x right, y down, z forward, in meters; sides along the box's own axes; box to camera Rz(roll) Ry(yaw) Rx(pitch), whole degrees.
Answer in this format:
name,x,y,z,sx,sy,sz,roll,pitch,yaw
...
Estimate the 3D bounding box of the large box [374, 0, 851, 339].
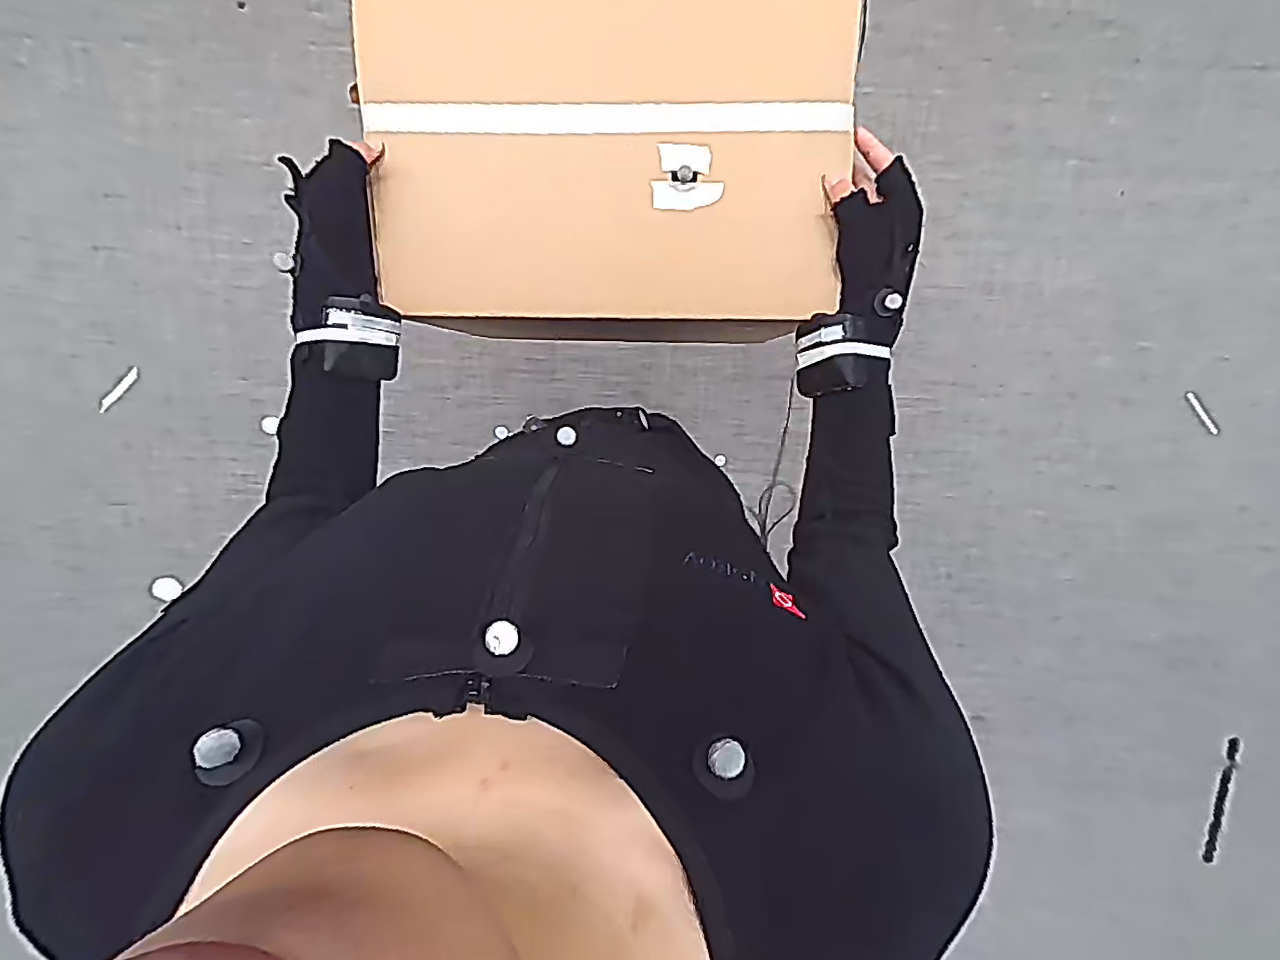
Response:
name,x,y,z,sx,sy,sz,roll,pitch,yaw
large box,-0.024,-0.331,0.611,0.408,0.320,0.320,1,102,0
